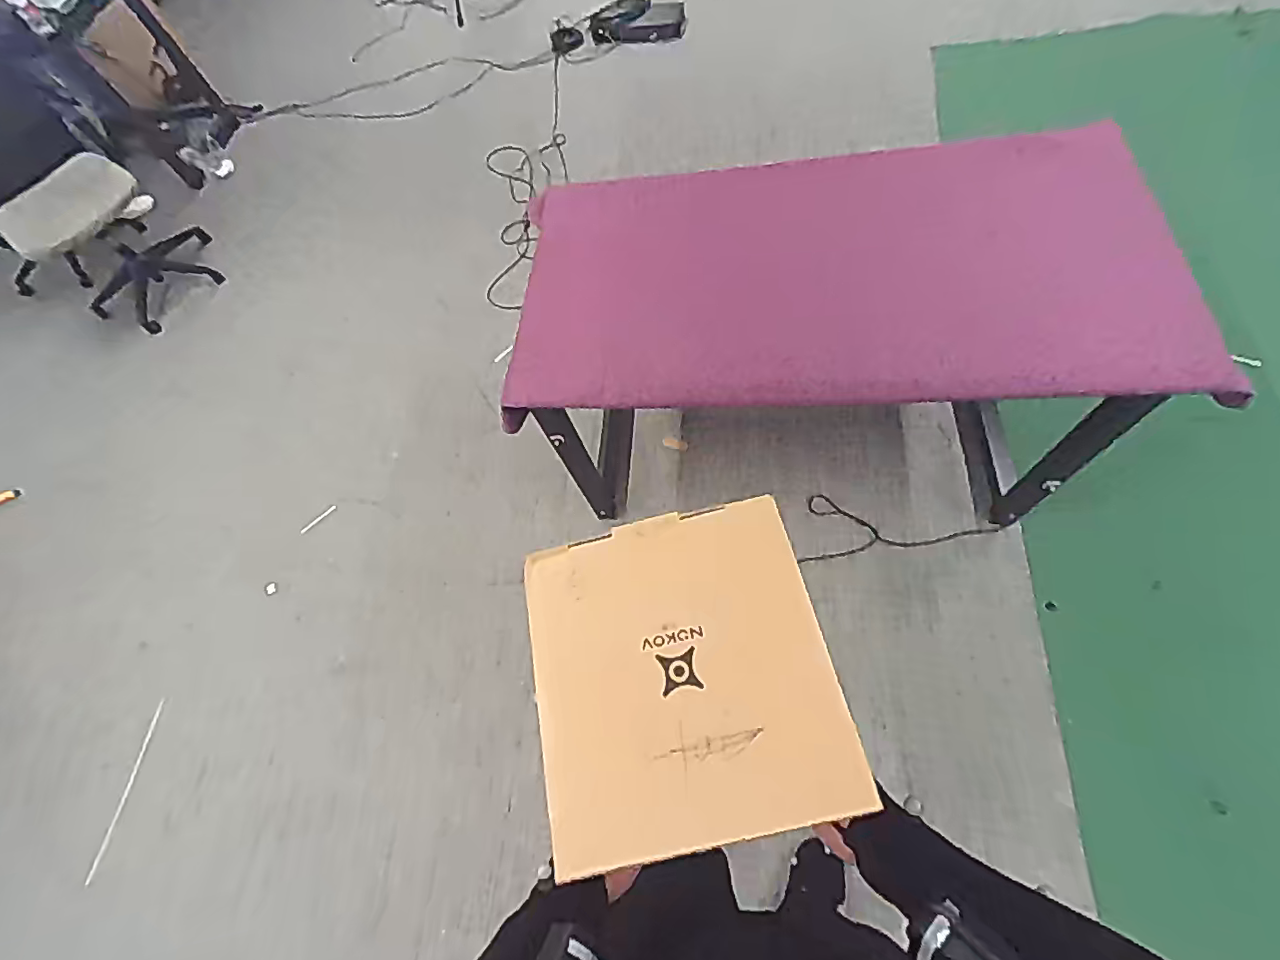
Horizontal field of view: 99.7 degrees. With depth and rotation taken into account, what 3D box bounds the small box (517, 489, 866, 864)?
[{"bbox_3d":[0.027,0.132,0.372,0.168,0.176,0.179,-14,63,3],"label":"small box"}]
